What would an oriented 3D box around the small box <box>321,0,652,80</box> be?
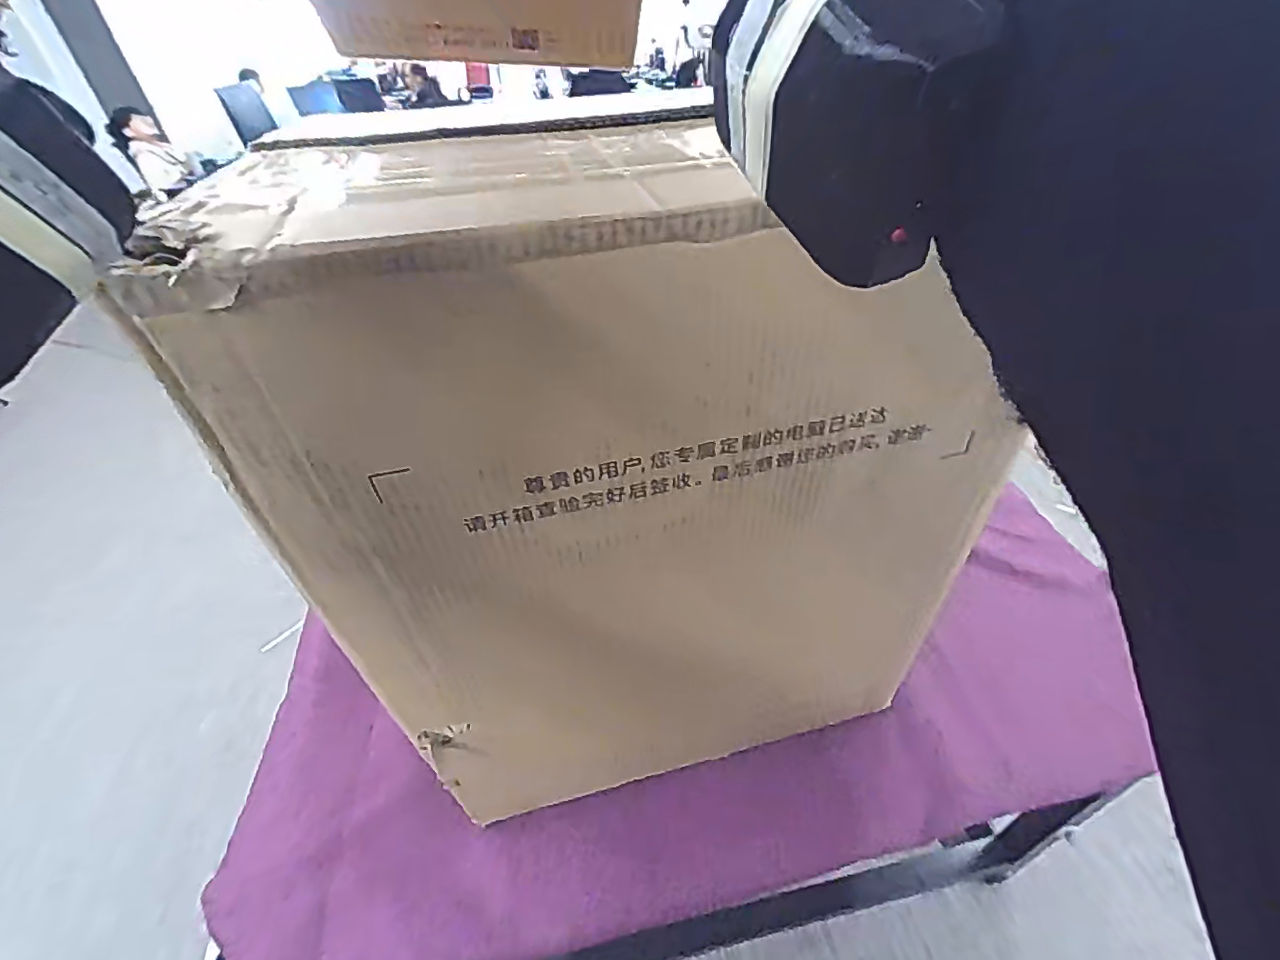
[{"bbox_3d":[-0.073,-0.309,0.225,0.168,0.179,0.176,-2,1,-7],"label":"small box"}]
